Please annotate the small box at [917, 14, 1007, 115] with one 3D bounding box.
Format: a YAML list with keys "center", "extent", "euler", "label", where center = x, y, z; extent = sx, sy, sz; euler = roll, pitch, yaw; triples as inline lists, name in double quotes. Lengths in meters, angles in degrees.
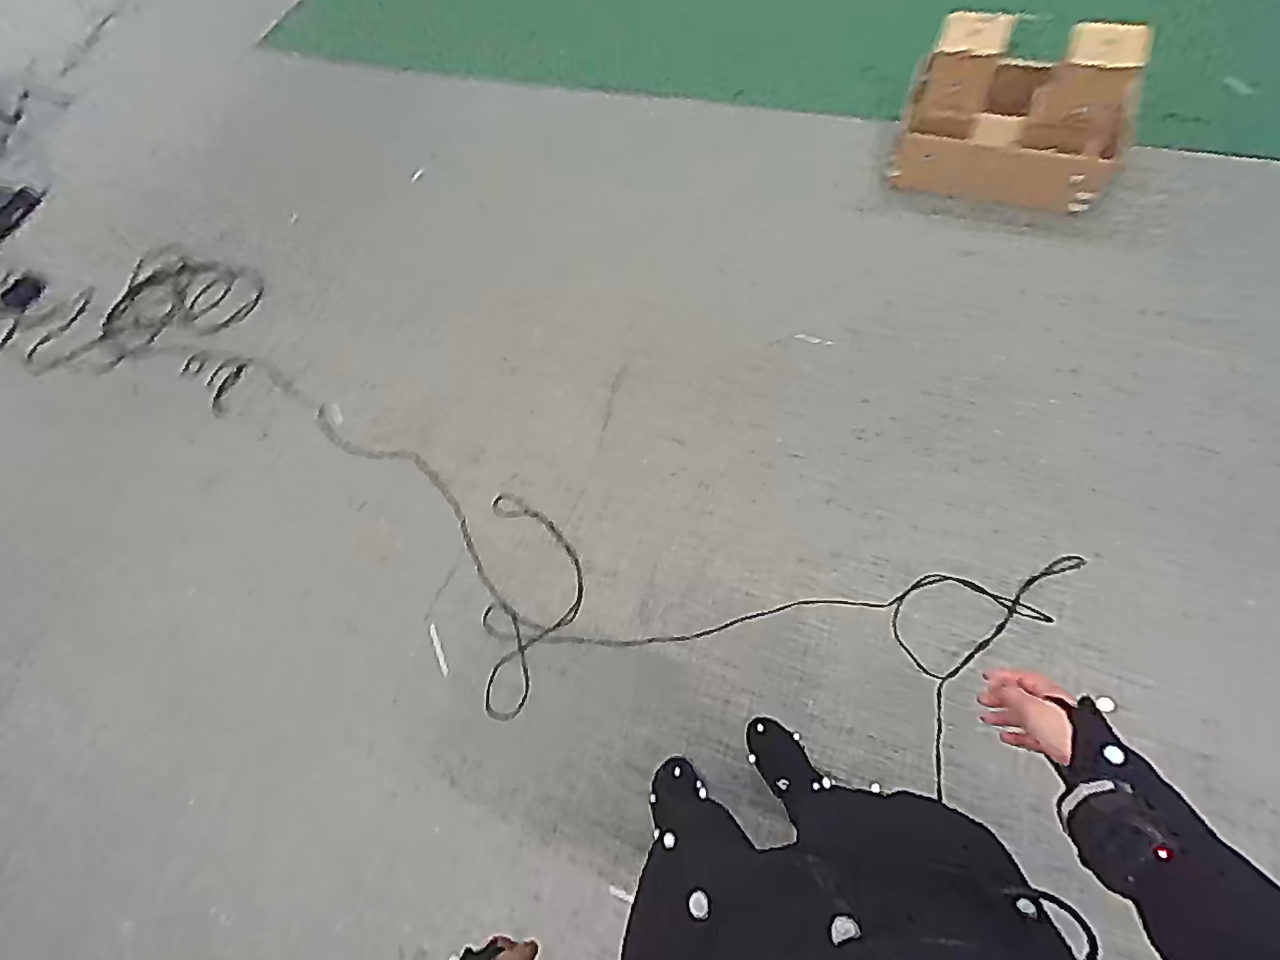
- center: [0.938, -1.218, 1.591]
  extent: [0.168, 0.176, 0.179]
  euler: [19, 73, 15]
  label: "small box"

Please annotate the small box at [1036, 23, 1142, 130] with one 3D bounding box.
- center: [1.243, -1.122, 1.506]
  extent: [0.168, 0.176, 0.179]
  euler: [17, 72, 16]
  label: "small box"
